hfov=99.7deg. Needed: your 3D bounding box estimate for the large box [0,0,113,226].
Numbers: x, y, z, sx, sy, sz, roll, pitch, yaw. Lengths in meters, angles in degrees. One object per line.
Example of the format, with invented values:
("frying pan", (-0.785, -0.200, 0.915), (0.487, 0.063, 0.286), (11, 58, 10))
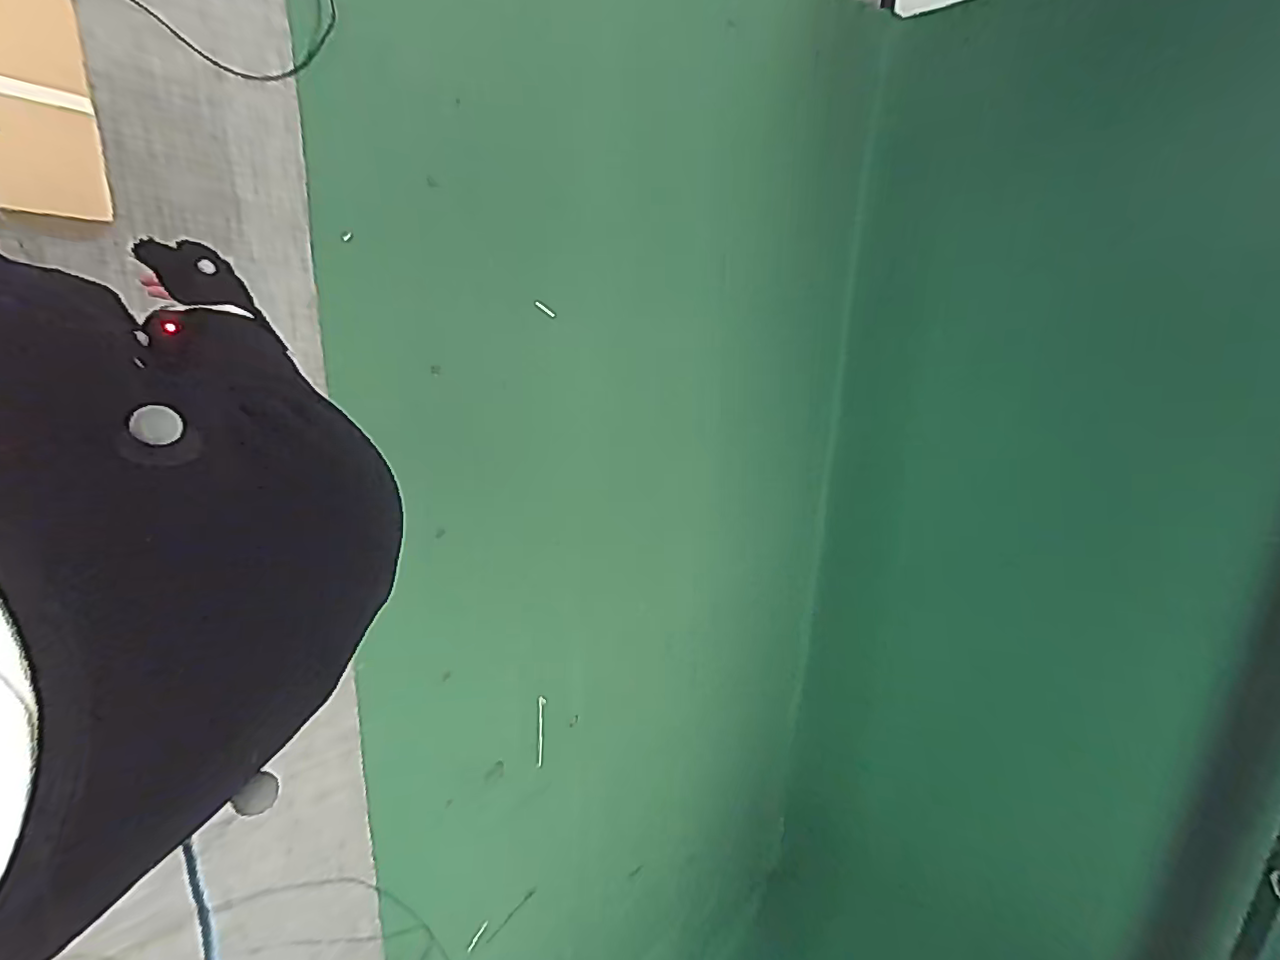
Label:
("large box", (-1.048, -0.560, 0.746), (0.408, 0.320, 0.320), (-13, 113, -46))
